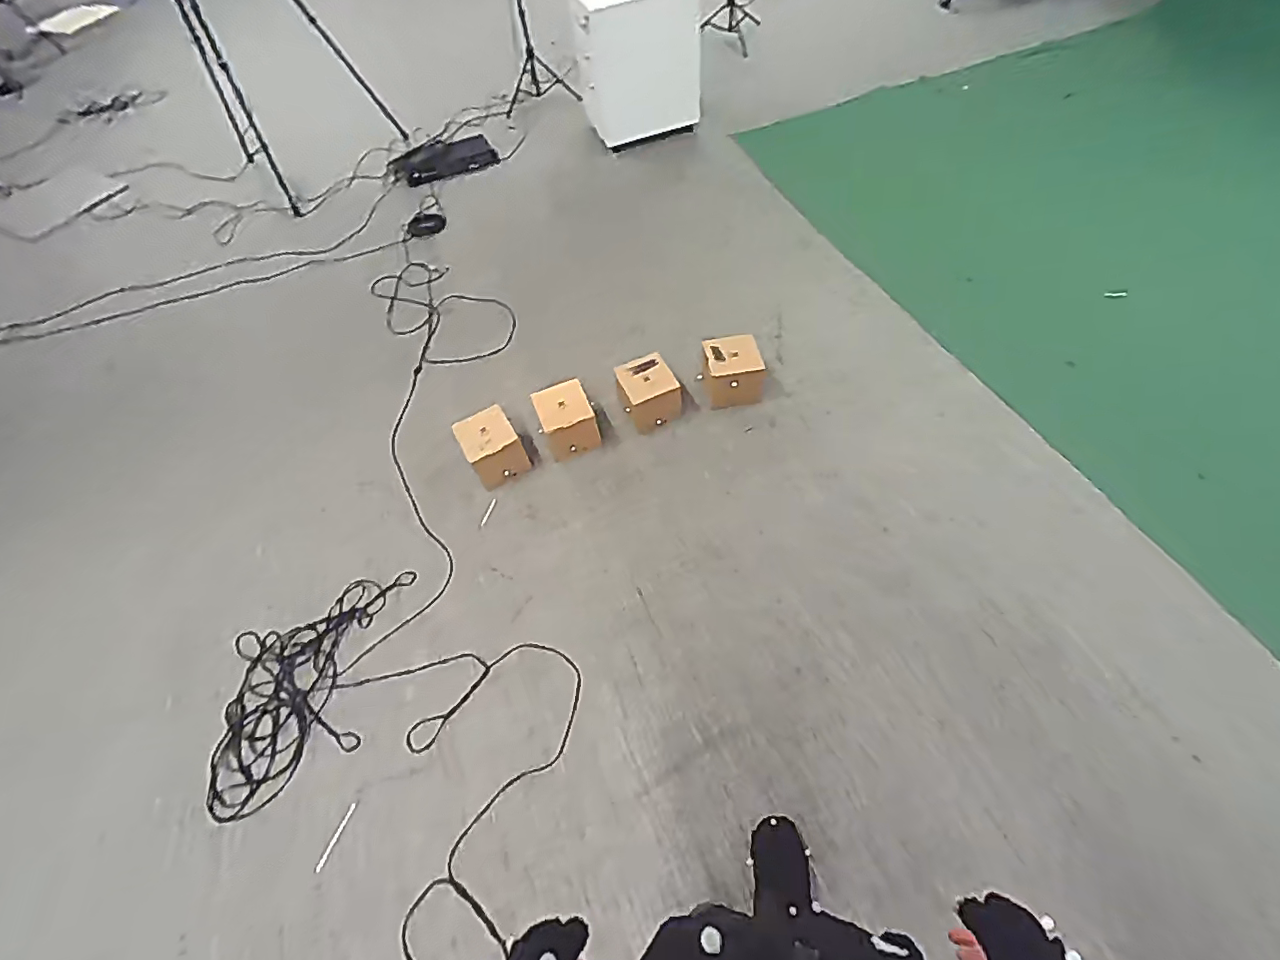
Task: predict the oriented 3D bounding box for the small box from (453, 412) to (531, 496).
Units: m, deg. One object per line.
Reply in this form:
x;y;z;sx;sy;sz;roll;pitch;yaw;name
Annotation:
-0.473;-0.082;1.743;0.168;0.176;0.179;-29;59;-12;small box

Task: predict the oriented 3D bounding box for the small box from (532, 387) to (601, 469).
-0.240;-0.168;1.780;0.168;0.176;0.179;-21;58;-8;small box

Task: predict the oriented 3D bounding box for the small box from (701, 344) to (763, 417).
0.305;-0.332;1.833;0.179;0.176;0.168;-8;57;-1;small box
